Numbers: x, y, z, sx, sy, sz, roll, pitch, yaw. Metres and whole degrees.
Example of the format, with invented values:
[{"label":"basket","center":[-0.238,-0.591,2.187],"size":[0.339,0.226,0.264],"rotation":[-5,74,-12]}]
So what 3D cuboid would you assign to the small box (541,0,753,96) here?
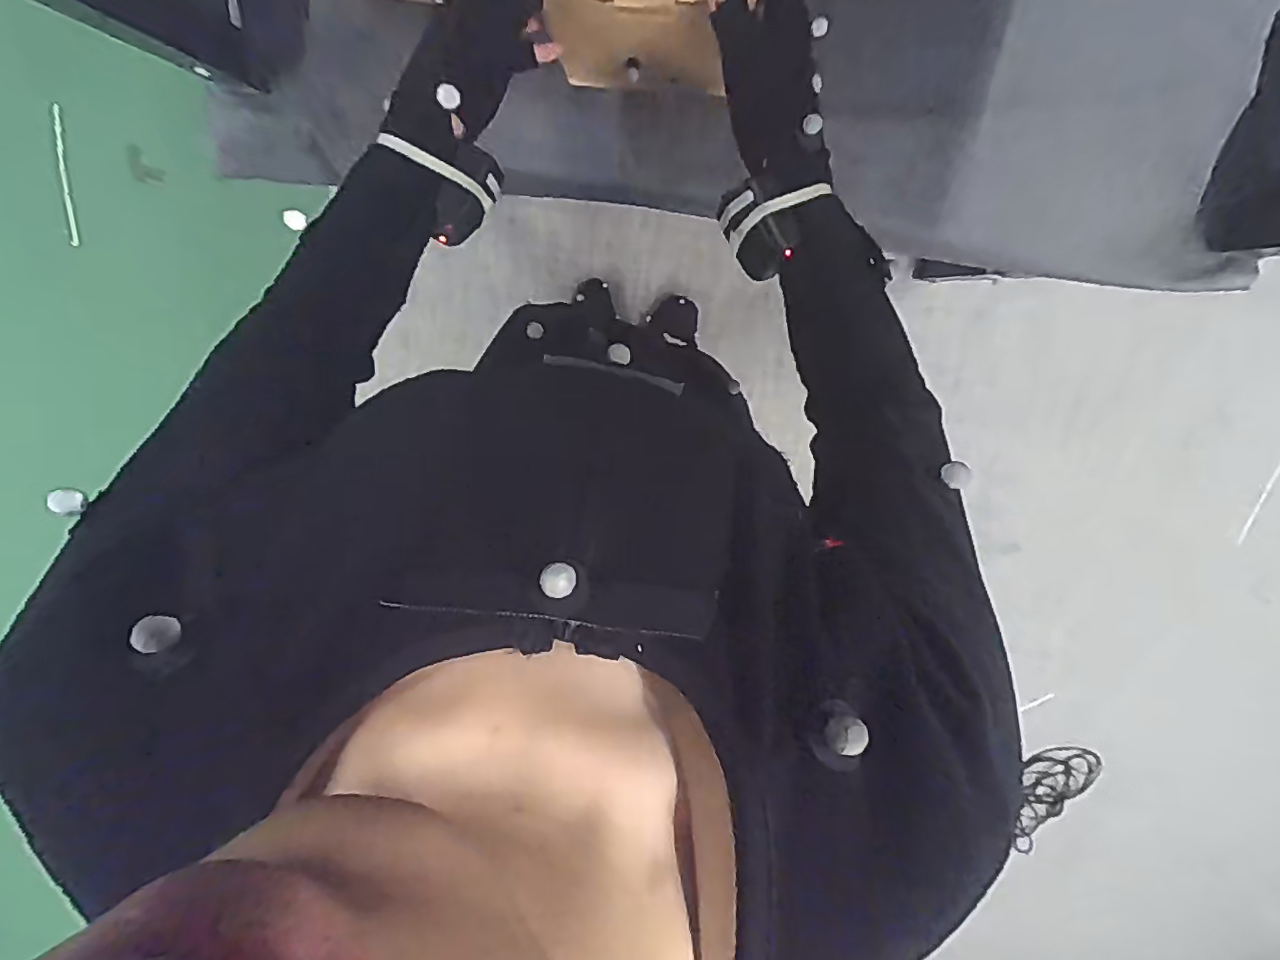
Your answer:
[{"label":"small box","center":[0.009,-0.449,0.439],"size":[0.168,0.176,0.179],"rotation":[4,108,2]}]
